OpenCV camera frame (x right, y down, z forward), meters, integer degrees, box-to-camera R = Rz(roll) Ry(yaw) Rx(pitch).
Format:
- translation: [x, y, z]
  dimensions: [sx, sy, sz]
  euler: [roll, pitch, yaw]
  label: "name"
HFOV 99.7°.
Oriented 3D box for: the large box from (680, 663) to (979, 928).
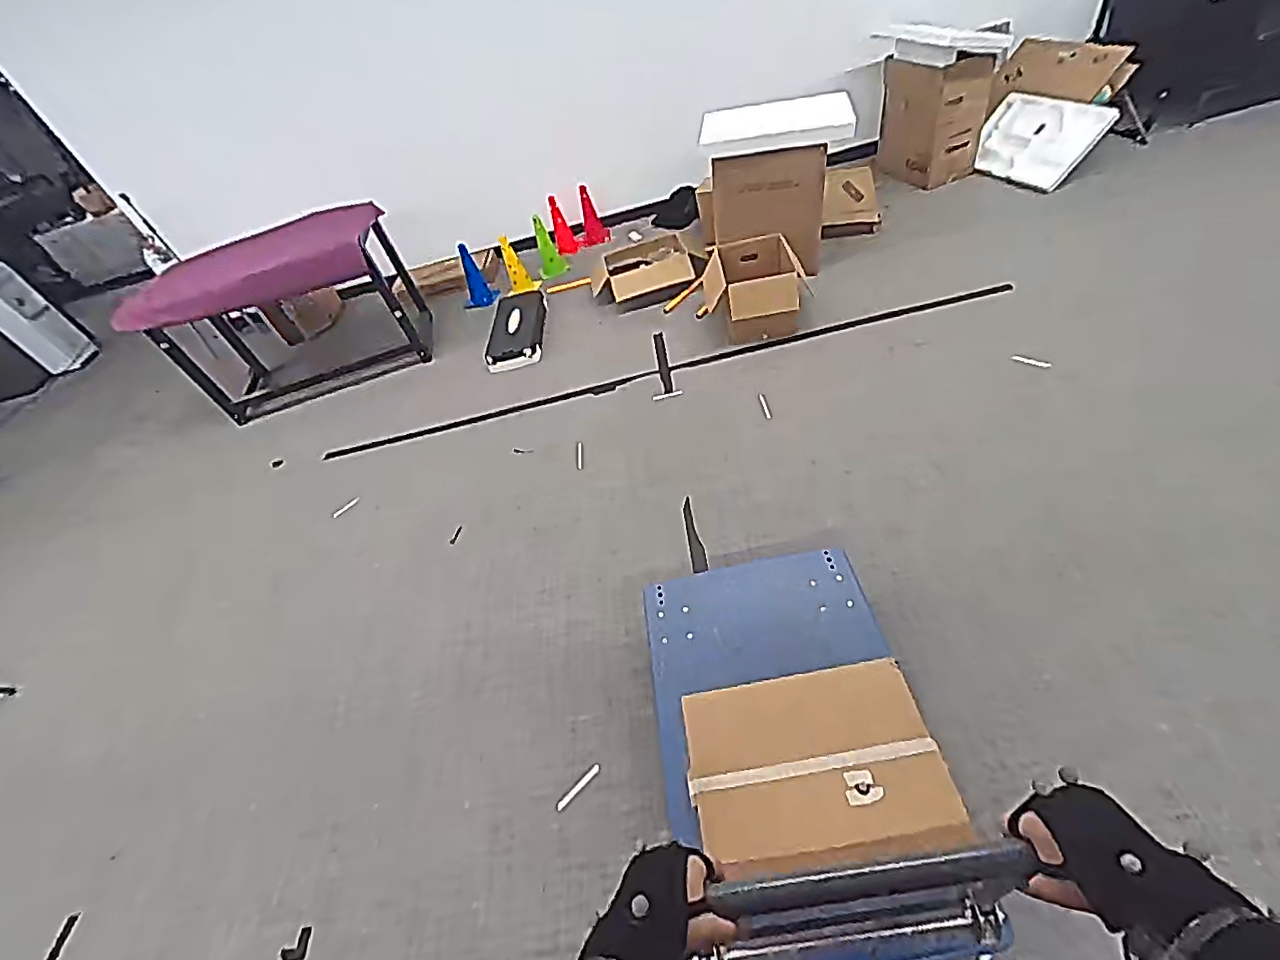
- translation: [0.312, 0.587, 1.000]
  dimensions: [0.408, 0.320, 0.320]
  euler: [-12, 46, 4]
  label: "large box"
